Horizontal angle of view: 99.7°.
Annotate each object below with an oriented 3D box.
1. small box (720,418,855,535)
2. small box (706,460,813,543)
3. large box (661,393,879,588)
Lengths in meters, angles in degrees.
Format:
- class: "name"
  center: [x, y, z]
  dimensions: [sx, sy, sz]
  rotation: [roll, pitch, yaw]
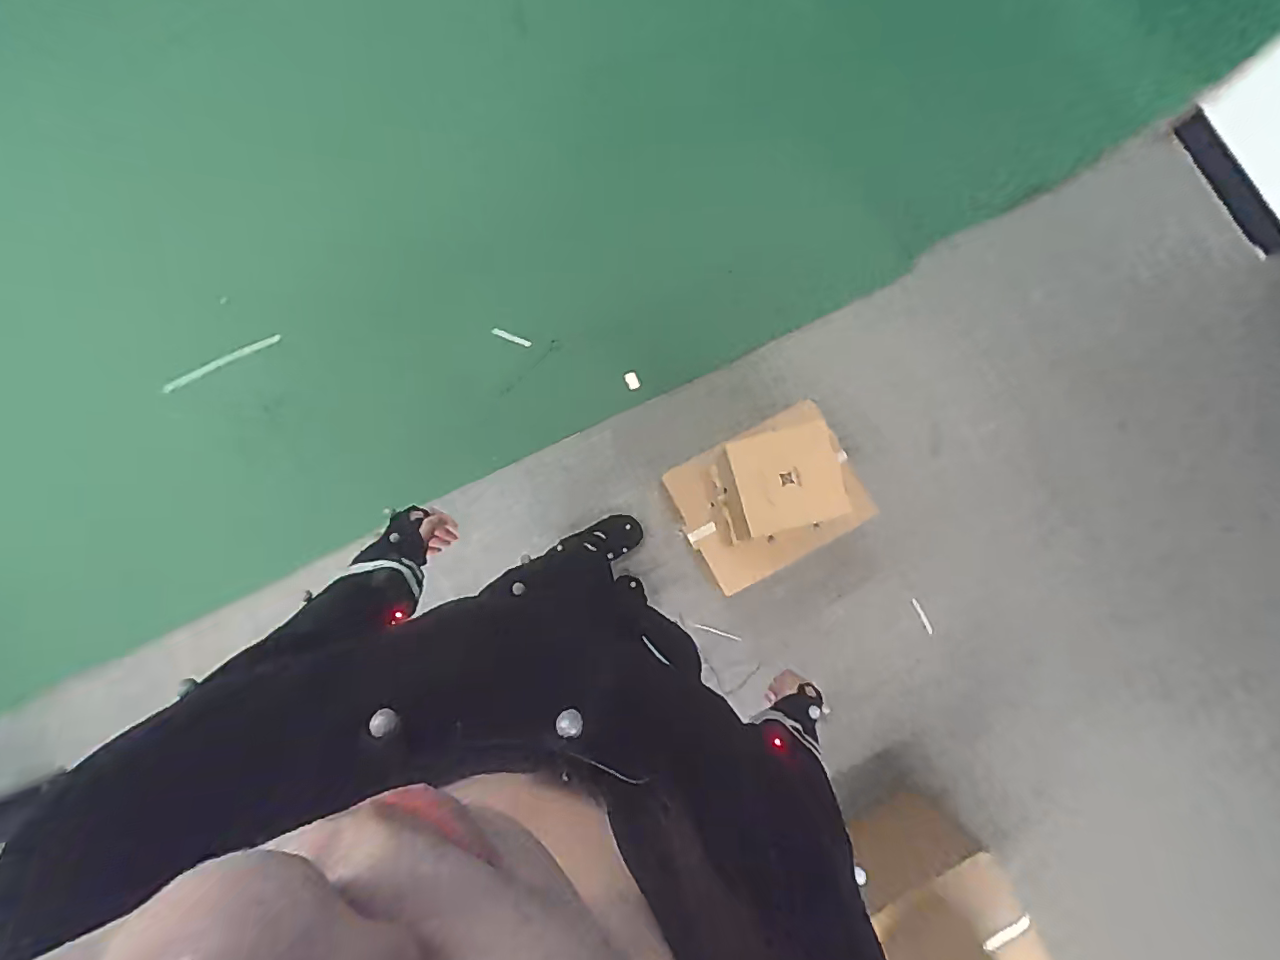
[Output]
- class: "small box"
  center: [0.254, 0.001, 0.972]
  dimensions: [0.179, 0.176, 0.168]
  rotation: [-13, 82, 0]
- class: "small box"
  center: [0.250, 0.029, 1.133]
  dimensions: [0.179, 0.176, 0.168]
  rotation: [-16, 83, -1]
- class: "large box"
  center: [0.300, 0.041, 1.377]
  dimensions: [0.408, 0.320, 0.320]
  rotation: [-27, 84, -4]
